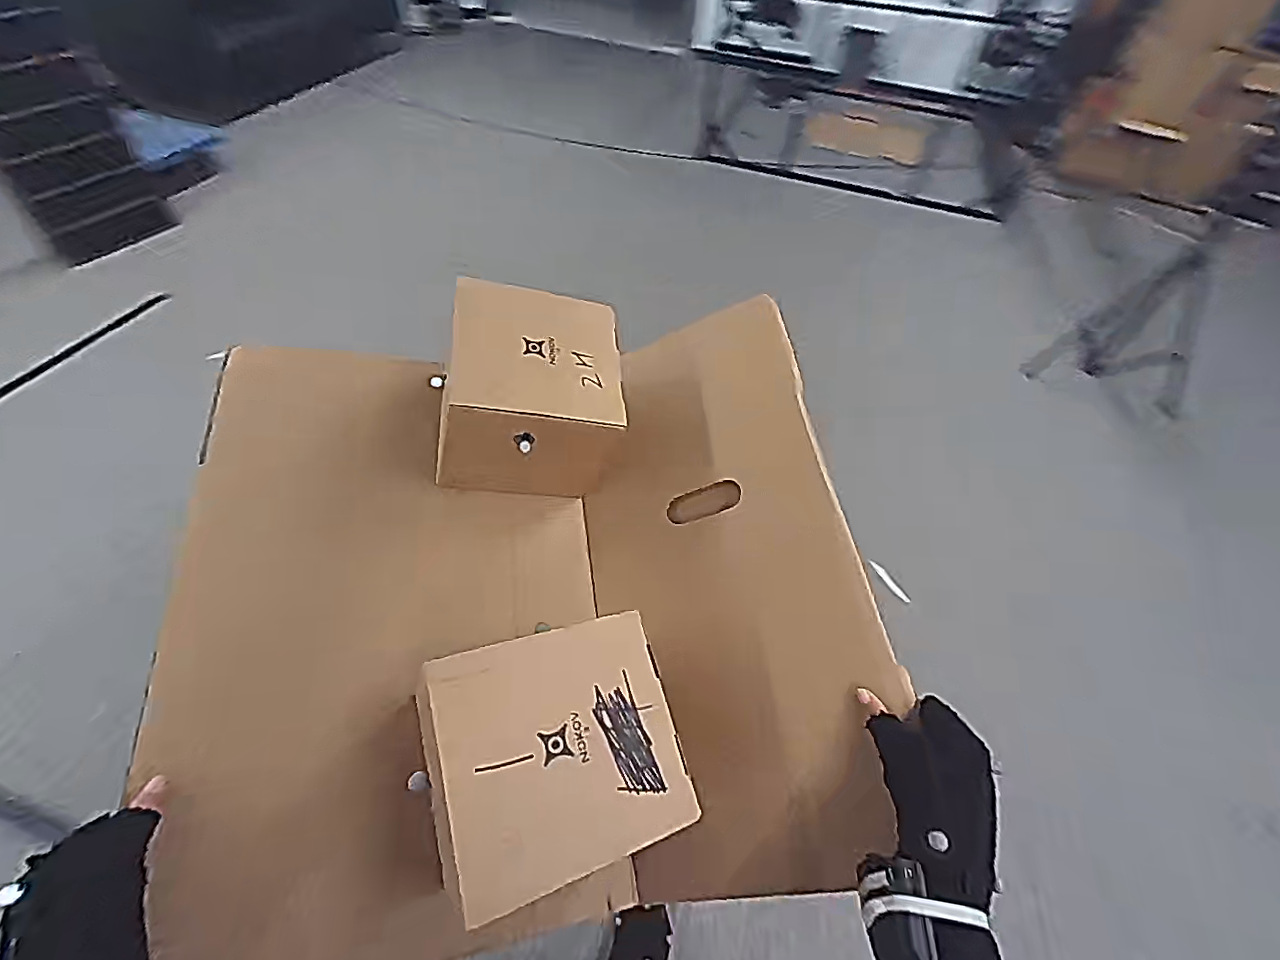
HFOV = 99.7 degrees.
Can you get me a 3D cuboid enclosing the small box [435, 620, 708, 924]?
[{"bbox_3d":[-0.073,0.235,0.471,0.179,0.176,0.168,-6,66,-26],"label":"small box"}]
